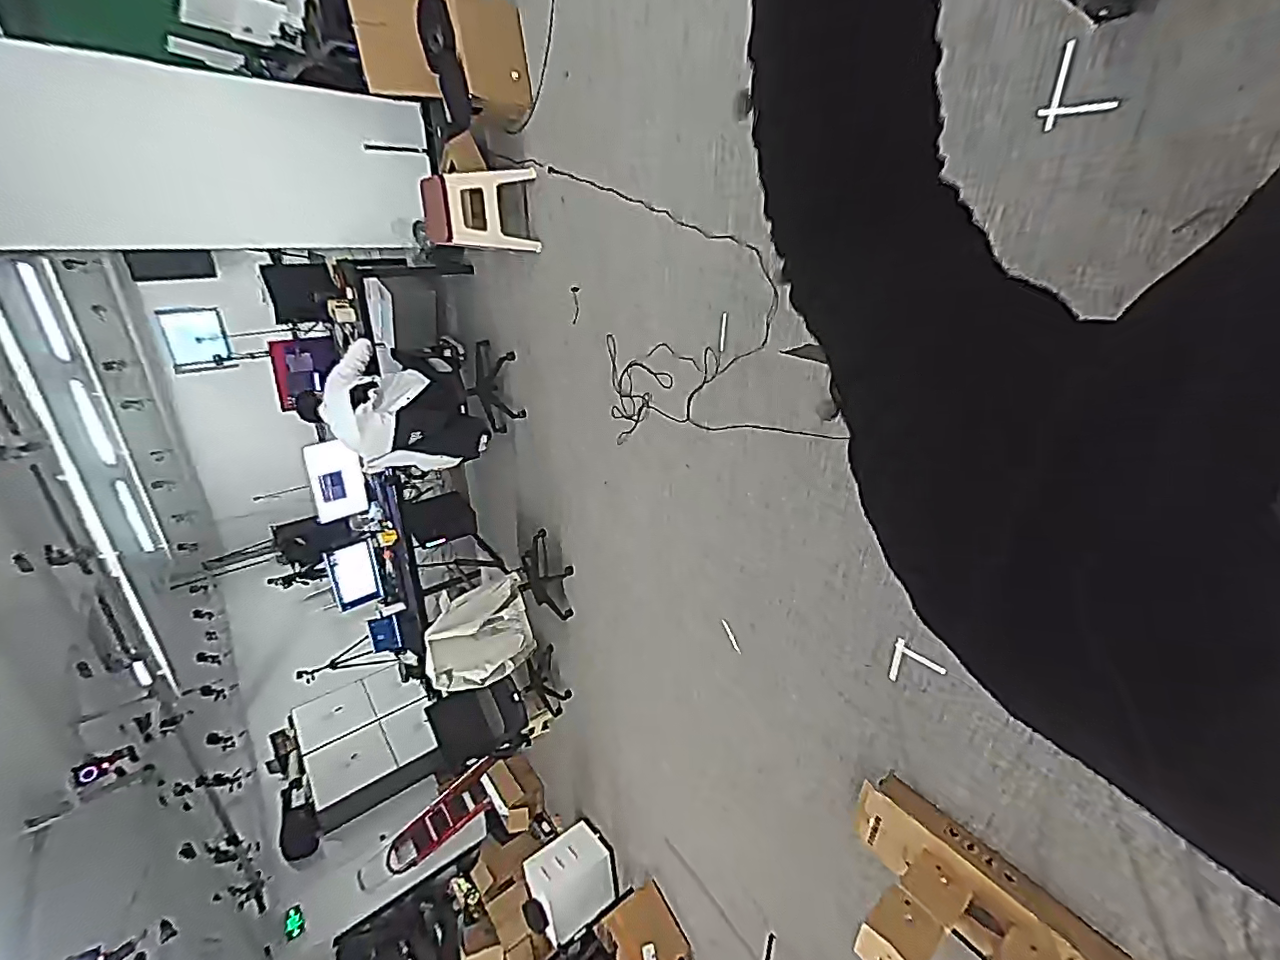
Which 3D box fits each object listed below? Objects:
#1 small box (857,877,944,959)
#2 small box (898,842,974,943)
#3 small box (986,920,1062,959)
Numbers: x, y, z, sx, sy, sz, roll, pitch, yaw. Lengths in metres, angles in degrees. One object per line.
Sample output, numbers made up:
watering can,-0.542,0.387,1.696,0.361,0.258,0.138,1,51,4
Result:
small box,0.788,1.366,1.634,0.168,0.176,0.179,29,128,45
small box,0.921,1.311,1.716,0.168,0.176,0.179,33,130,42
small box,1.087,1.409,1.528,0.168,0.176,0.179,32,129,45
